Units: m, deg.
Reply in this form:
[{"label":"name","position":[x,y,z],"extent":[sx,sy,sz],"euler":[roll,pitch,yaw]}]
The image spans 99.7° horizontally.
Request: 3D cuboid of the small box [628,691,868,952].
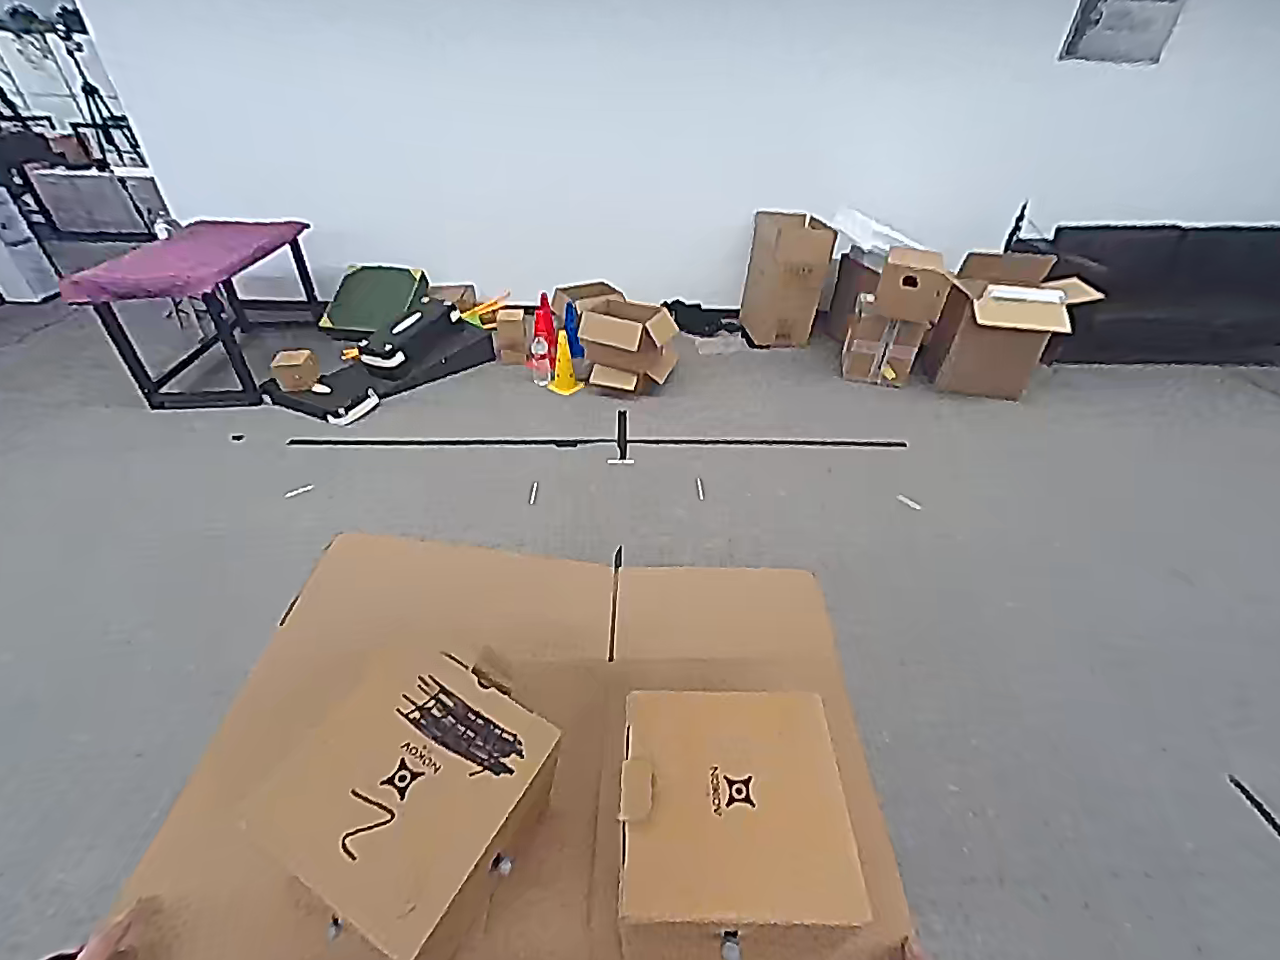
[{"label":"small box","position":[0.080,0.313,0.498],"extent":[0.179,0.176,0.168],"euler":[0,42,1]}]
